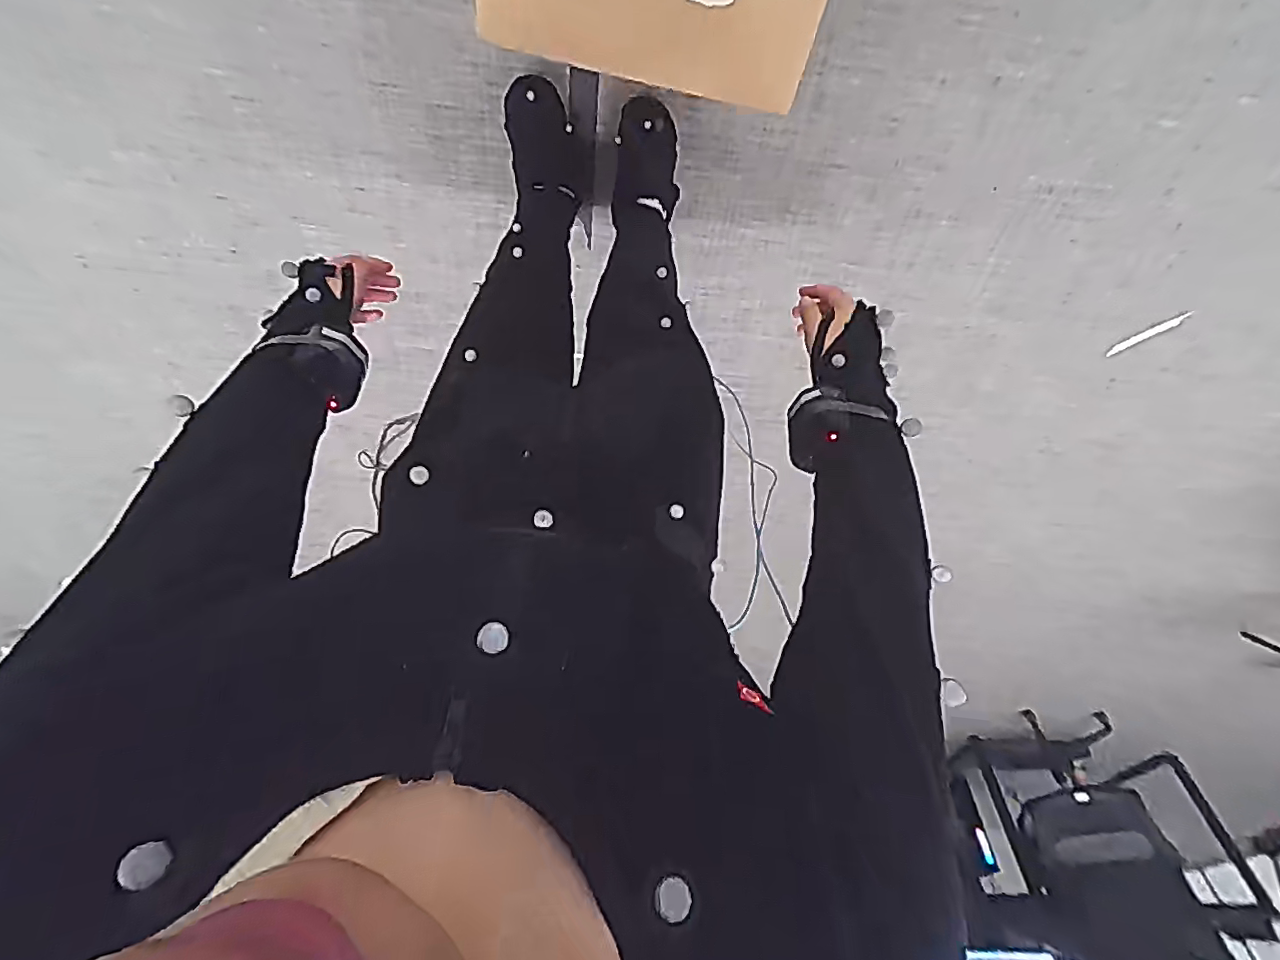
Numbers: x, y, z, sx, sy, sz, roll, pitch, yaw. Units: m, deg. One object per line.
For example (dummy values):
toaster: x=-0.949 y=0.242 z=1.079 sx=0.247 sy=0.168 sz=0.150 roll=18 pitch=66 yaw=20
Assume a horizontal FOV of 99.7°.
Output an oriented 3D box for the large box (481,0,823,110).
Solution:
large box: x=0.025 y=-0.719 z=0.686 sx=0.408 sy=0.320 sz=0.320 roll=7 pitch=135 yaw=-8
